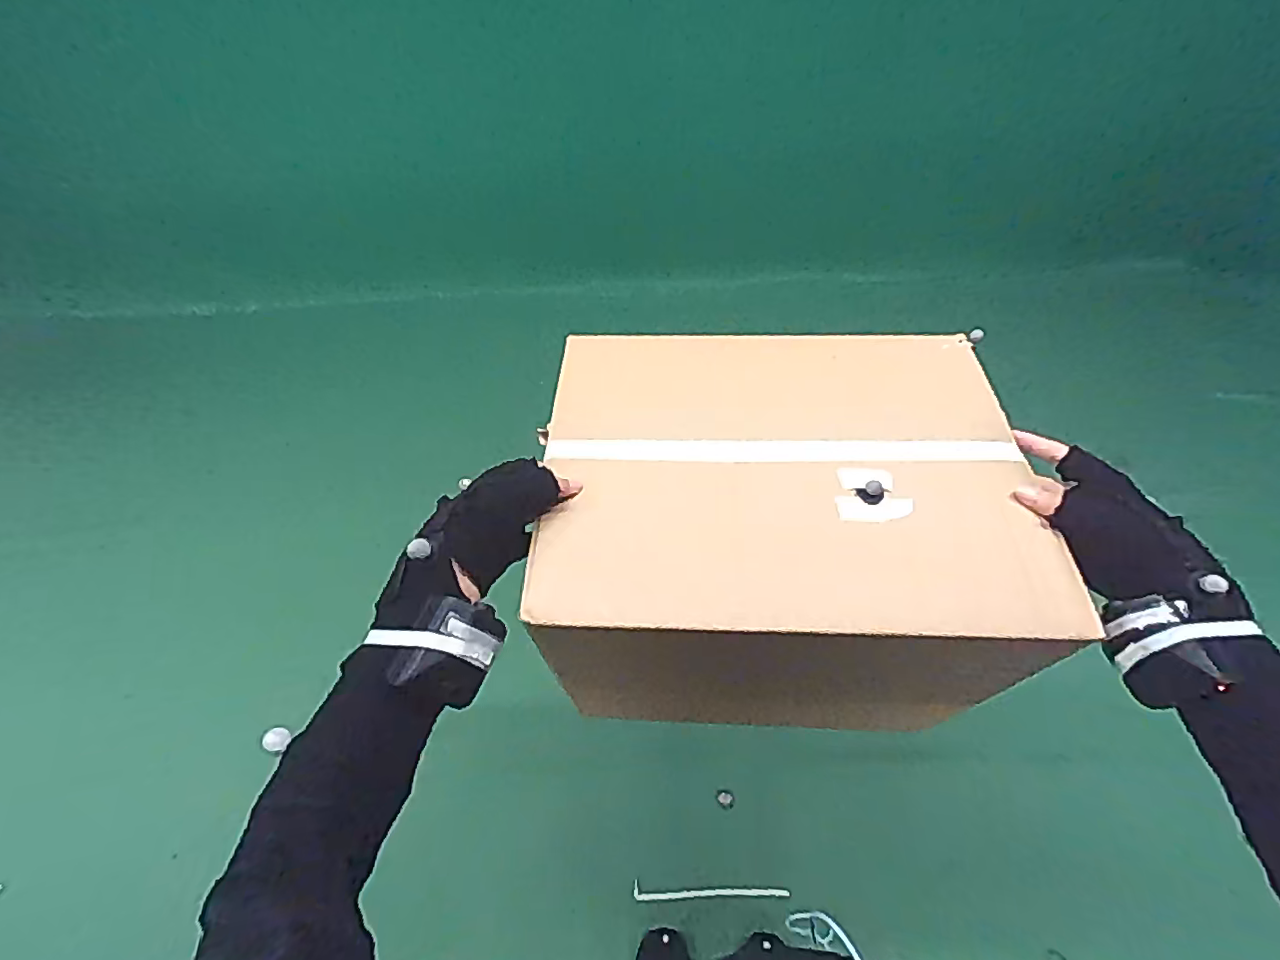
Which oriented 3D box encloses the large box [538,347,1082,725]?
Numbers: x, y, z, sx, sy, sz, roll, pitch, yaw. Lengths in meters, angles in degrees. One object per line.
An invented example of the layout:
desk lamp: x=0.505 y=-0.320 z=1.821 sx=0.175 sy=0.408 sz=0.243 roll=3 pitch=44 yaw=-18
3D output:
large box: x=0.127 y=0.071 z=0.599 sx=0.408 sy=0.320 sz=0.320 roll=1 pitch=54 yaw=3
